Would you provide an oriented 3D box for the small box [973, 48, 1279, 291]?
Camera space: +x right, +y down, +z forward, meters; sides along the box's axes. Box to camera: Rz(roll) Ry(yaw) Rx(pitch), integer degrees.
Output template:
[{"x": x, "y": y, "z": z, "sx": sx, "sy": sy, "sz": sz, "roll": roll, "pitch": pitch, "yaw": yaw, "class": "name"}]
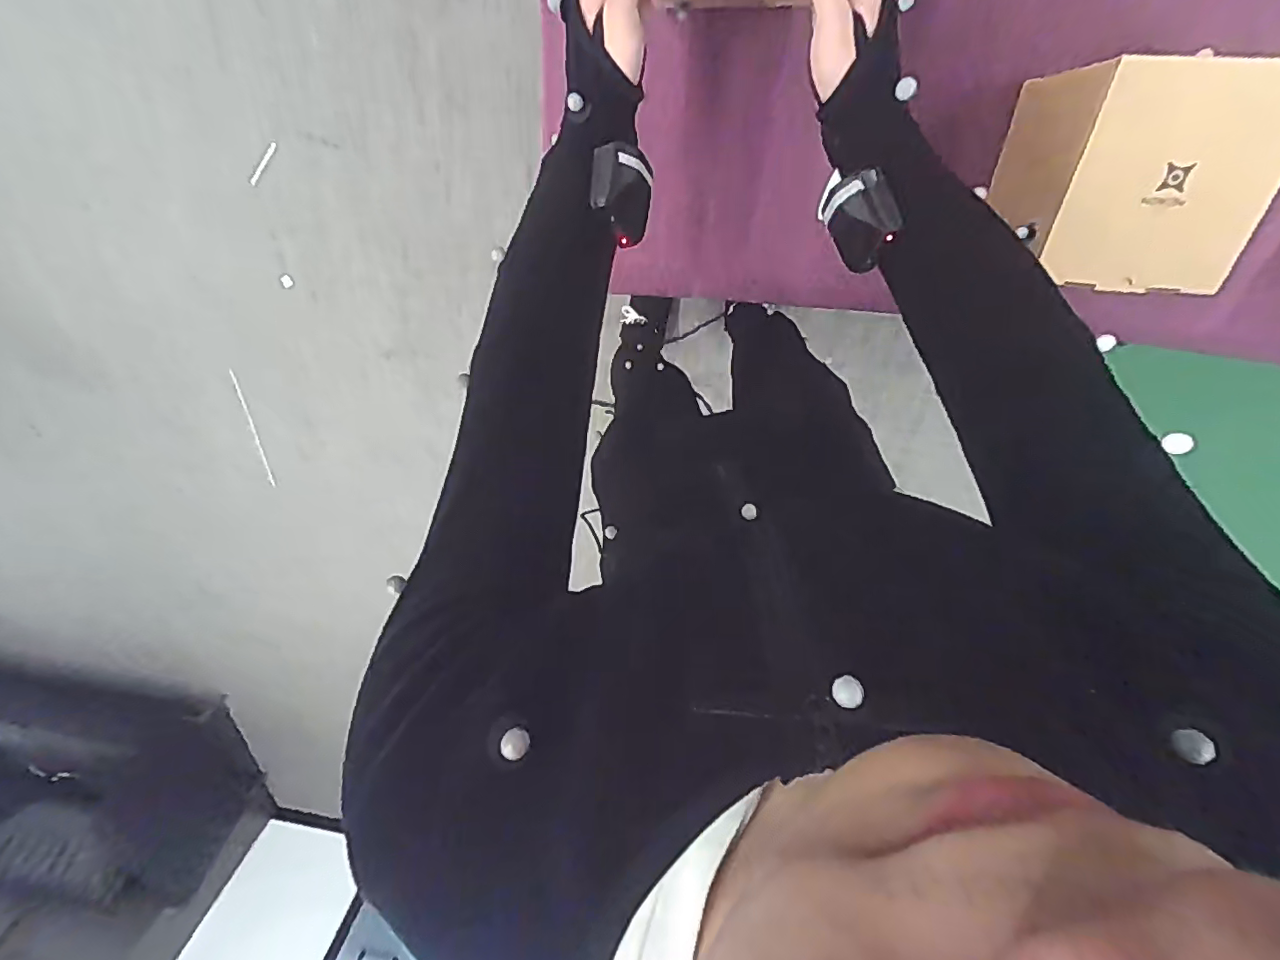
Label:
[{"x": 0.464, "y": -0.300, "z": 0.532, "sx": 0.168, "sy": 0.176, "sz": 0.179, "roll": 6, "pitch": 123, "yaw": 6, "class": "small box"}]
